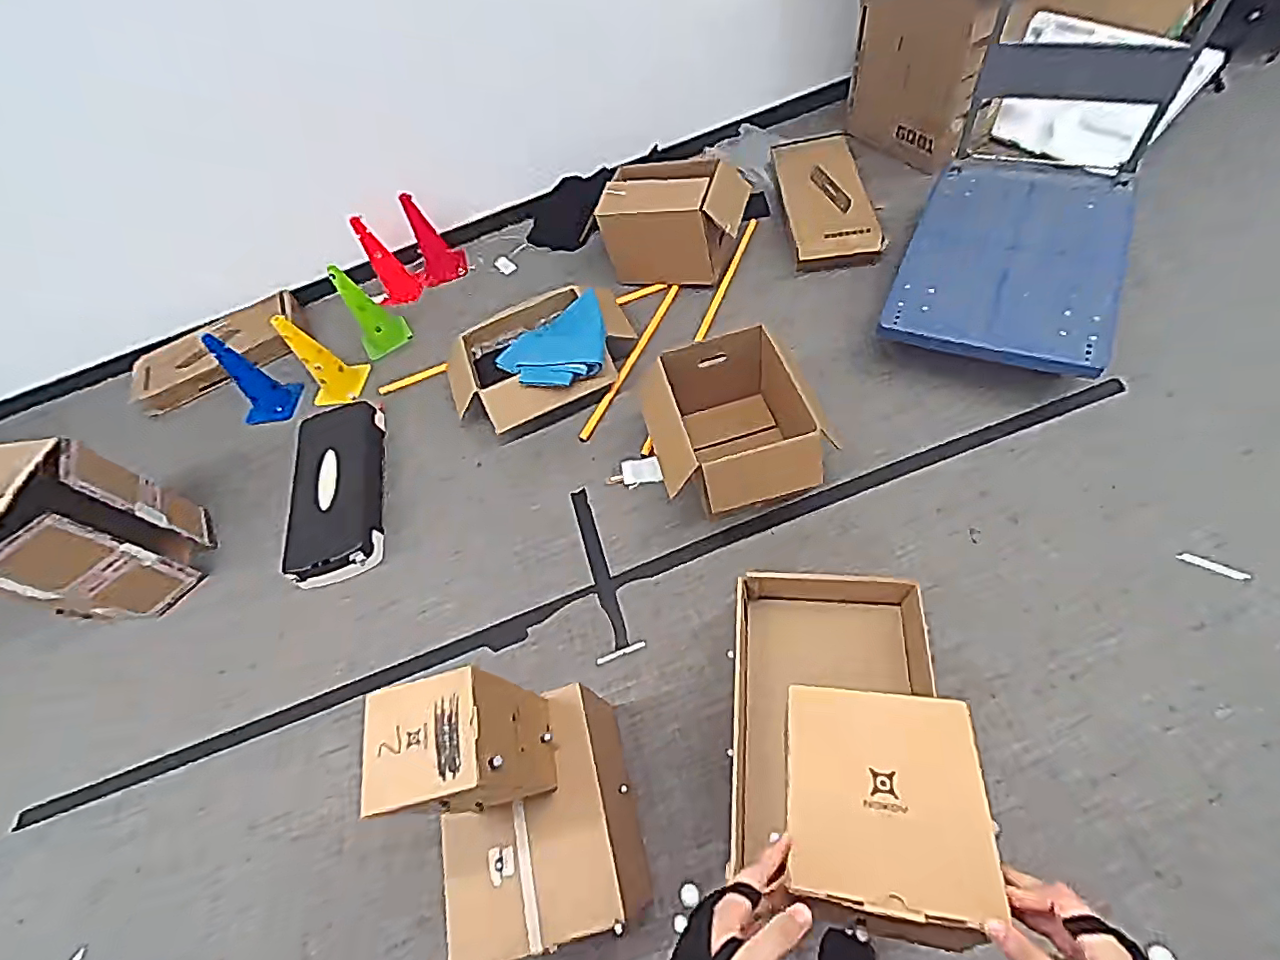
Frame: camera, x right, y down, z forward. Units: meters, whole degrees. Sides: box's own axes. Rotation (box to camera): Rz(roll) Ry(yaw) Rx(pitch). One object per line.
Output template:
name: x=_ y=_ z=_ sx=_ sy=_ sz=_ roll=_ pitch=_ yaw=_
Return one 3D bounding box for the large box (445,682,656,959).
large box: x=-0.187 y=0.693 z=1.130 sx=0.320 sy=0.320 sz=0.408 roll=-20 pitch=58 yaw=2

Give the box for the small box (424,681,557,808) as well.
small box: x=-0.268 y=0.484 z=0.982 sx=0.179 sy=0.176 sz=0.168 roll=-17 pitch=59 yaw=2
